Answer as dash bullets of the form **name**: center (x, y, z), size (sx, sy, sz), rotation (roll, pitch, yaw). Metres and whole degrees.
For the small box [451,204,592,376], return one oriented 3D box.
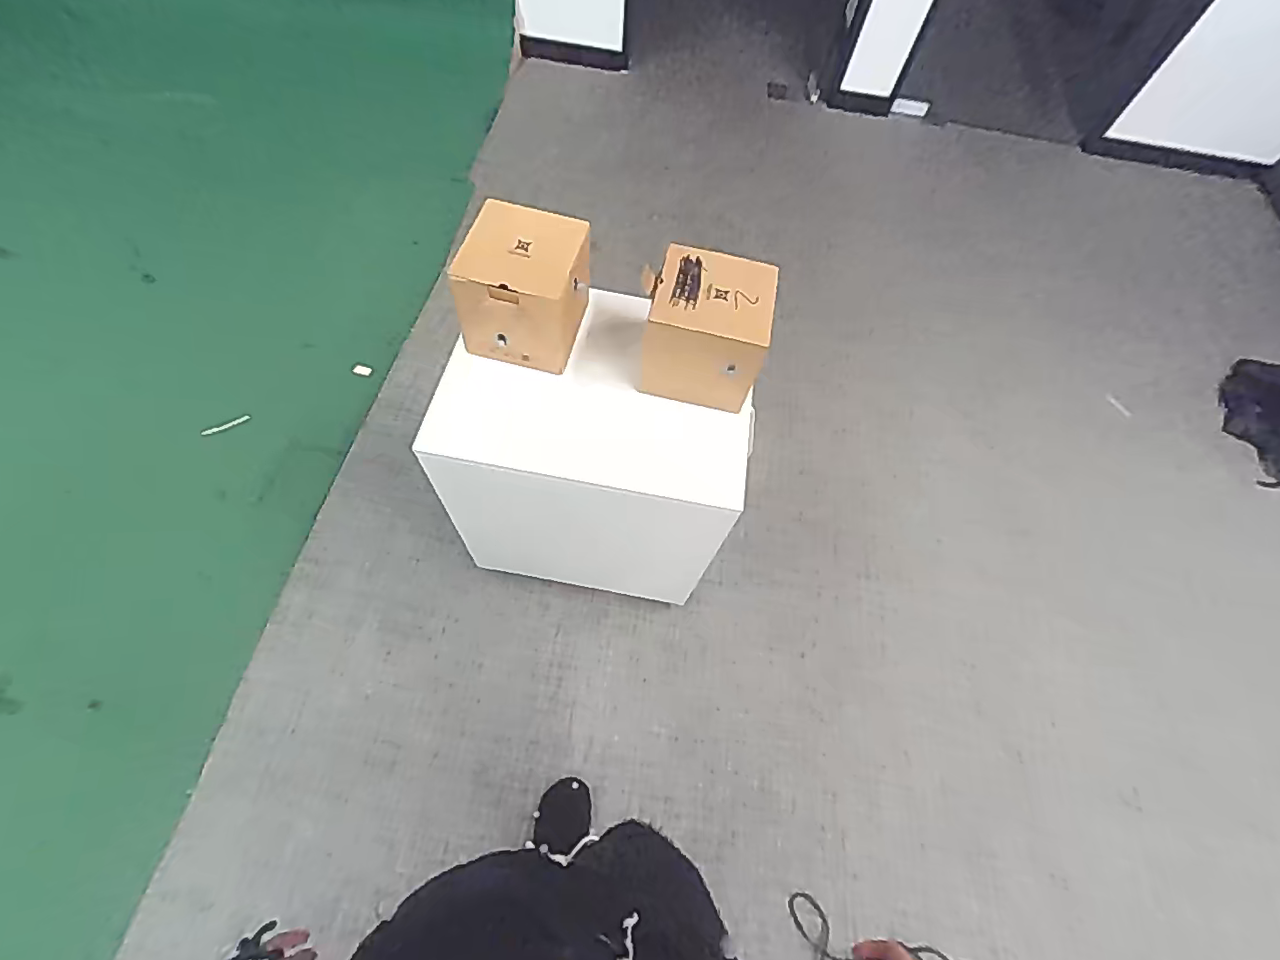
- **small box**: center (-0.180, -0.298, 0.867), size (0.168, 0.176, 0.179), rotation (13, 62, 0)
